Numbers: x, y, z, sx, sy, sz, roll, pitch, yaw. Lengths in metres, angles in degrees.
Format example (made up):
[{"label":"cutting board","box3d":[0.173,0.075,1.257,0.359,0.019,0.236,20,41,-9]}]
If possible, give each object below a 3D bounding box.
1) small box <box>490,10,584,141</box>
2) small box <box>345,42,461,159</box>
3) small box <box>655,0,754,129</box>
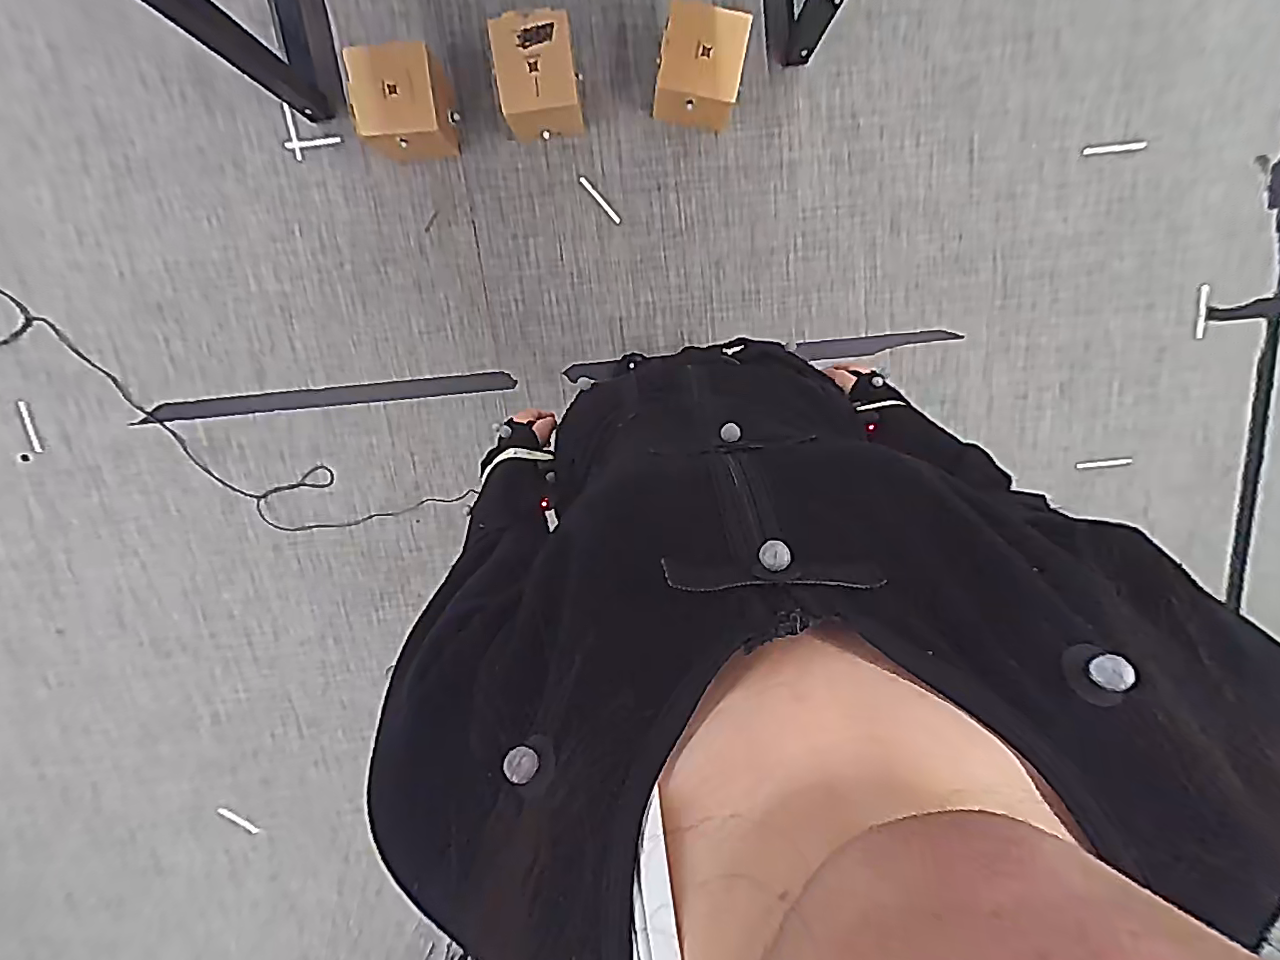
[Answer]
[{"label":"small box","box3d":[-0.221,-0.890,1.204,0.168,0.176,0.179,-7,104,1]},{"label":"small box","box3d":[-0.523,-0.841,1.214,0.179,0.176,0.168,-4,104,-1]},{"label":"small box","box3d":[0.135,-0.913,1.205,0.179,0.176,0.168,11,104,-2]}]
